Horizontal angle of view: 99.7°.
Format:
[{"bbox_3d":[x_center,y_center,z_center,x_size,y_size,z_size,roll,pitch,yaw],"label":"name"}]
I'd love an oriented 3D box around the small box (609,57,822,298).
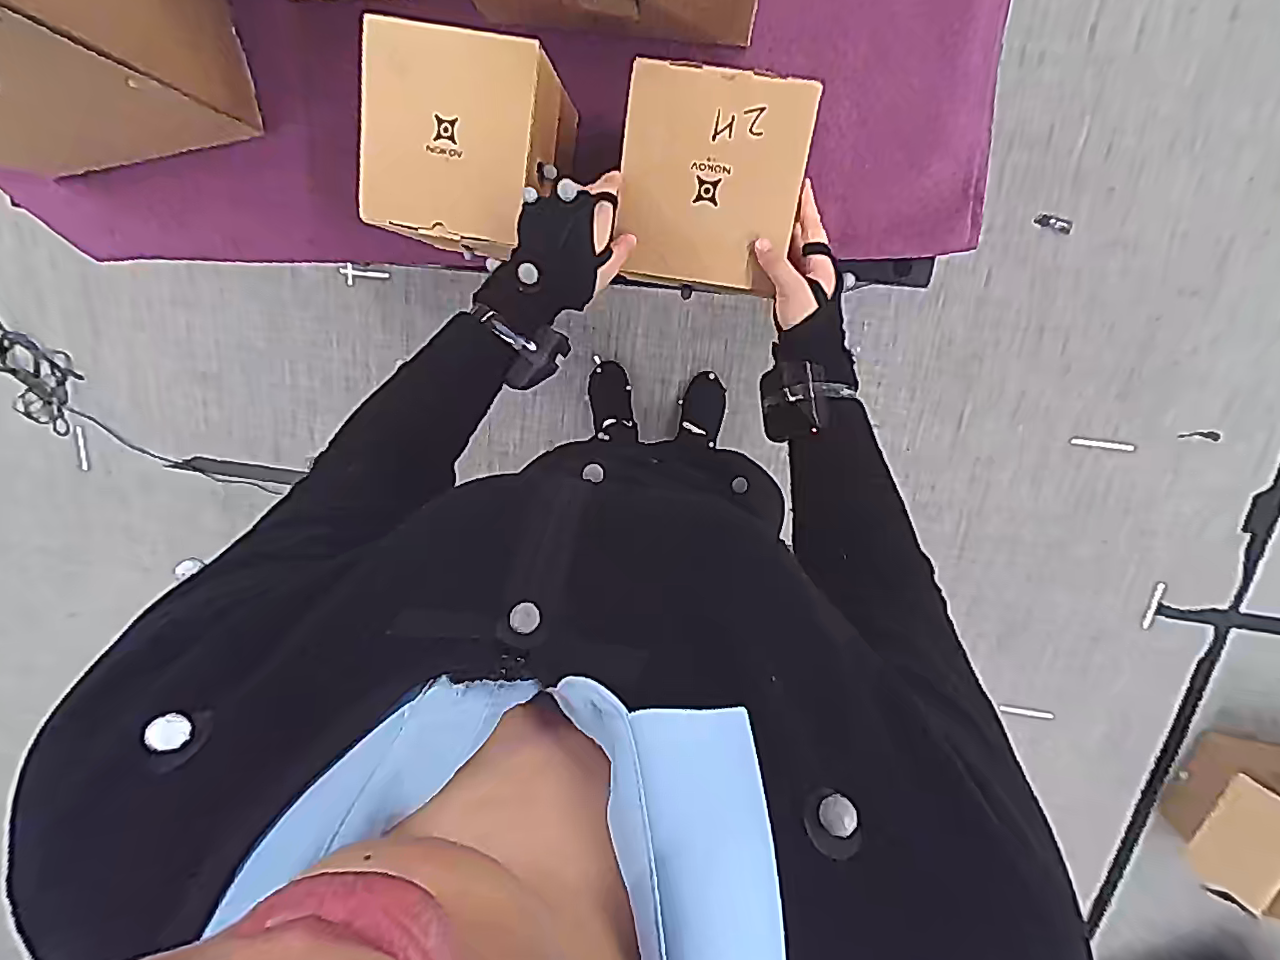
[{"bbox_3d":[0.069,-0.292,0.563,0.168,0.176,0.179,9,107,1],"label":"small box"}]
